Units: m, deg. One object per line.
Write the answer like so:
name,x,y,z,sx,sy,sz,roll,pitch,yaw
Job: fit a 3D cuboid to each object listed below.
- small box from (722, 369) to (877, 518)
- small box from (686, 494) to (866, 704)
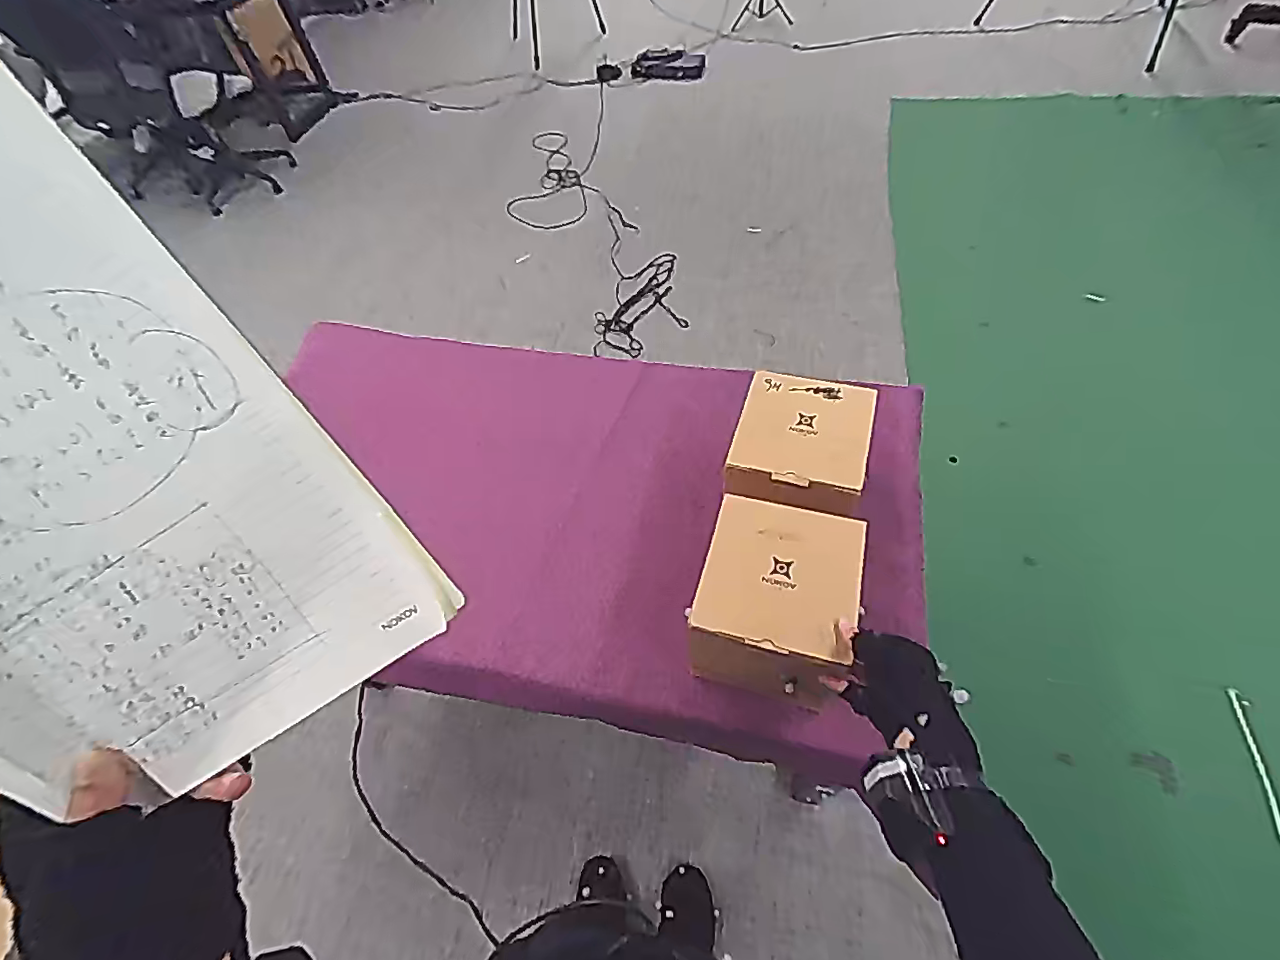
small box,0.218,-0.025,0.762,0.168,0.176,0.179,14,59,16
small box,0.159,0.146,0.648,0.168,0.176,0.179,12,57,14
